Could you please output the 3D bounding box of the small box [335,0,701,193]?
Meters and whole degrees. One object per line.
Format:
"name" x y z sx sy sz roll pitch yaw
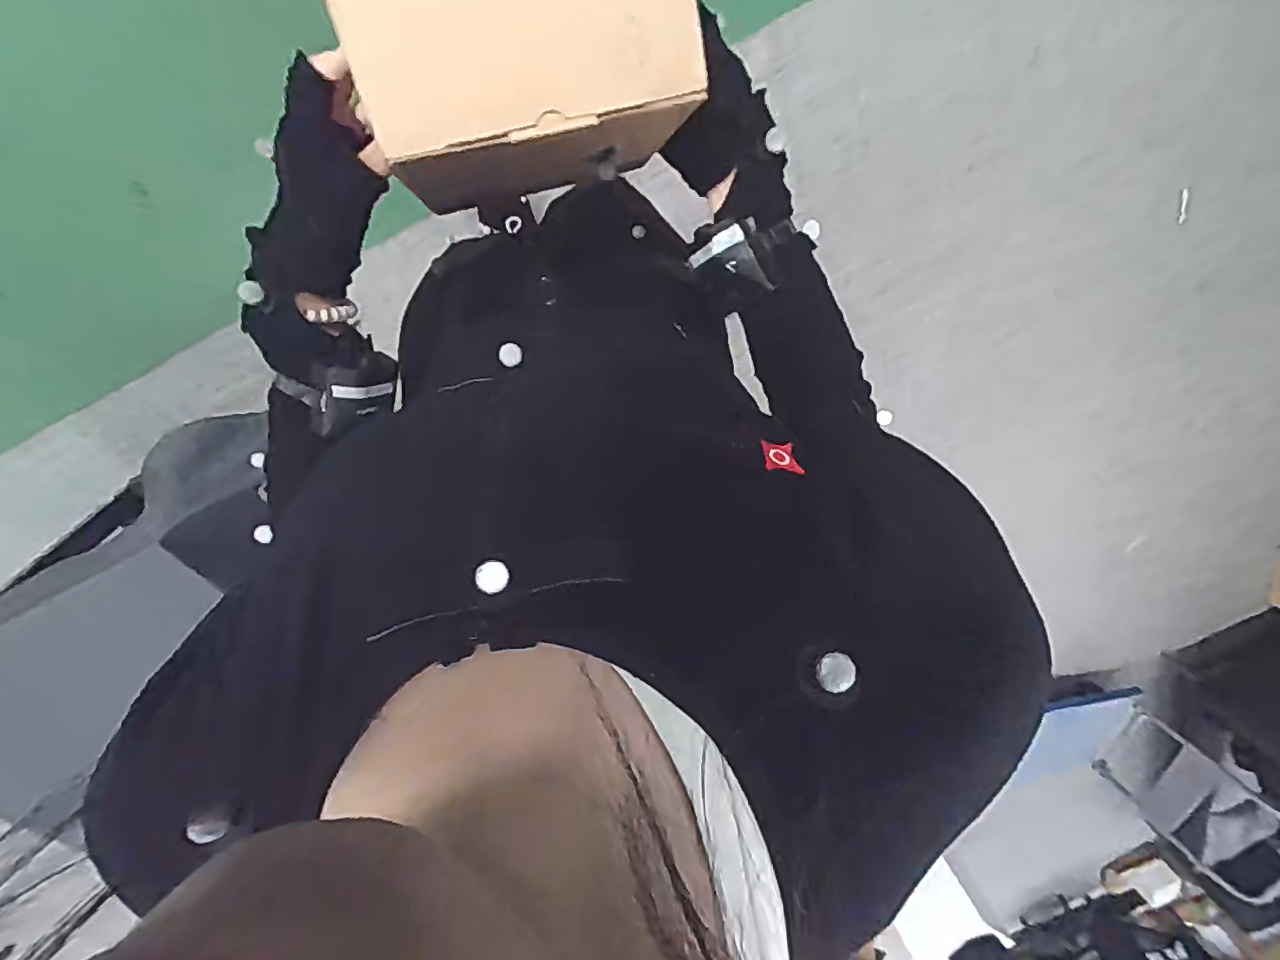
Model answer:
"small box" -0.078 -0.281 0.314 0.168 0.176 0.179 -16 112 -7
